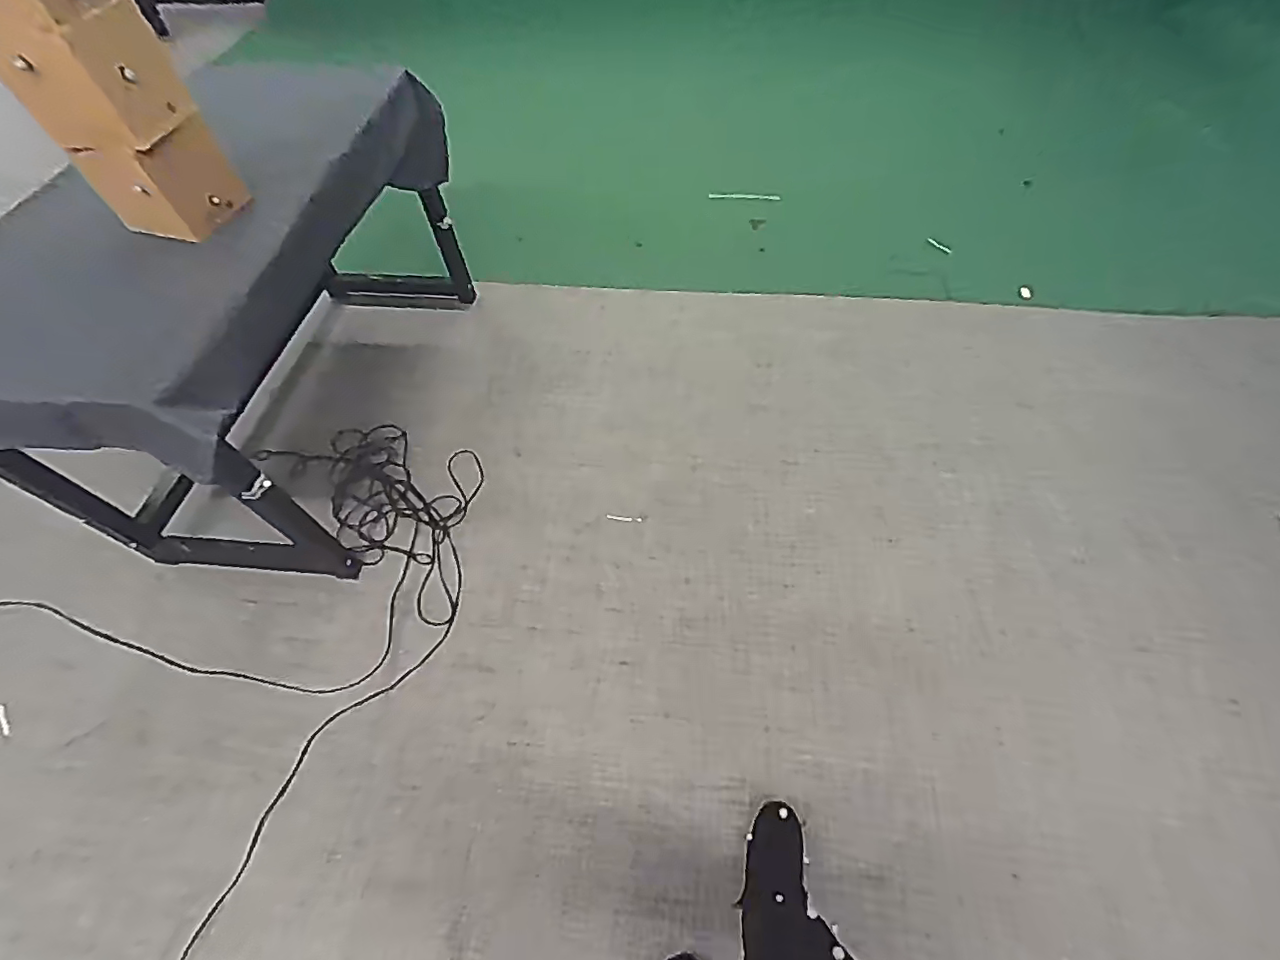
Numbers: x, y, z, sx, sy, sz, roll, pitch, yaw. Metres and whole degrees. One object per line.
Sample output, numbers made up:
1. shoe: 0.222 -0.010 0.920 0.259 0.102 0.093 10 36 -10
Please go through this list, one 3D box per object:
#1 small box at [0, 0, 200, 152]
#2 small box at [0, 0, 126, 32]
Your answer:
1. small box: -0.905 -0.675 0.904 0.179 0.176 0.168 6 57 6
2. small box: -0.912 -0.771 0.773 0.179 0.176 0.168 5 58 5
